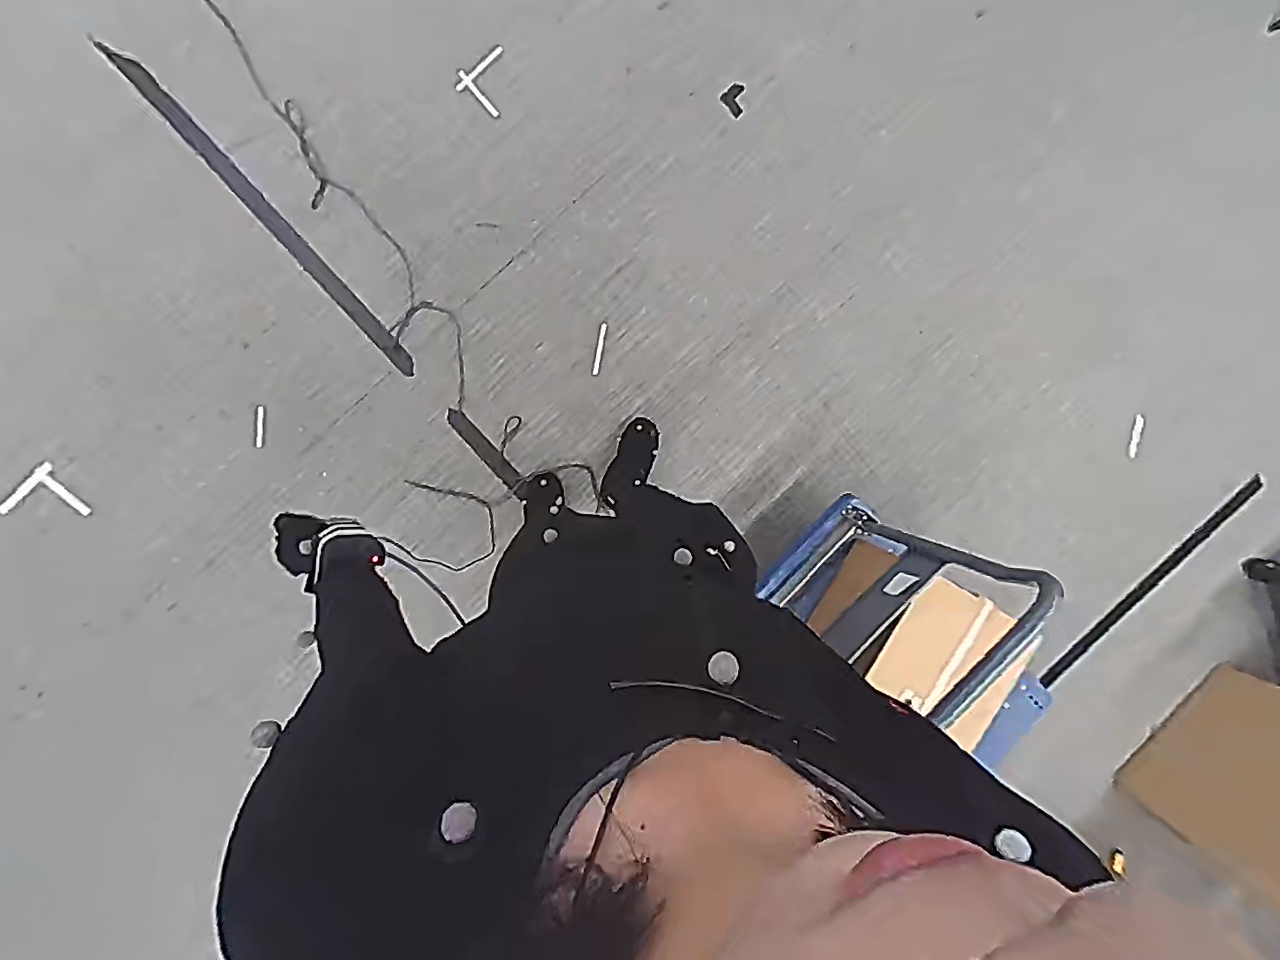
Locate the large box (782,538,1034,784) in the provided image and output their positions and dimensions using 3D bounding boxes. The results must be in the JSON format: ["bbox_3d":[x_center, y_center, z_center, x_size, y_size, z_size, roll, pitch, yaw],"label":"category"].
[{"bbox_3d":[0.610,0.407,1.296,0.320,0.320,0.408,29,93,-8],"label":"large box"}]
